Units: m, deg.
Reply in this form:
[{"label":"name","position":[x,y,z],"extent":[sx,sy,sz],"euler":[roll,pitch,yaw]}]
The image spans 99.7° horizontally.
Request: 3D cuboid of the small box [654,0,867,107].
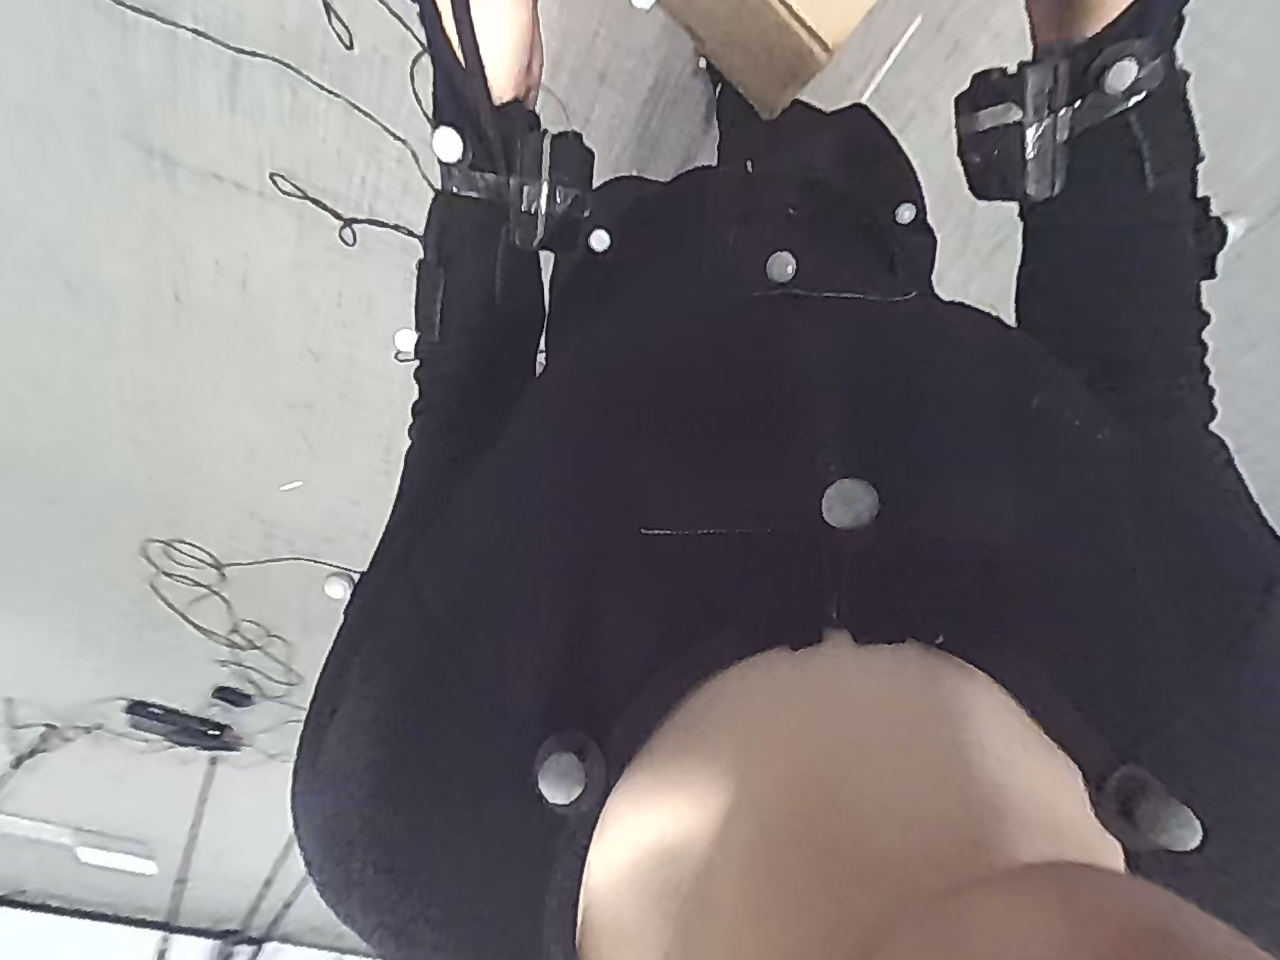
[{"label":"small box","position":[0.060,-0.287,0.210],"extent":[0.168,0.176,0.179],"euler":[36,116,-13]}]
